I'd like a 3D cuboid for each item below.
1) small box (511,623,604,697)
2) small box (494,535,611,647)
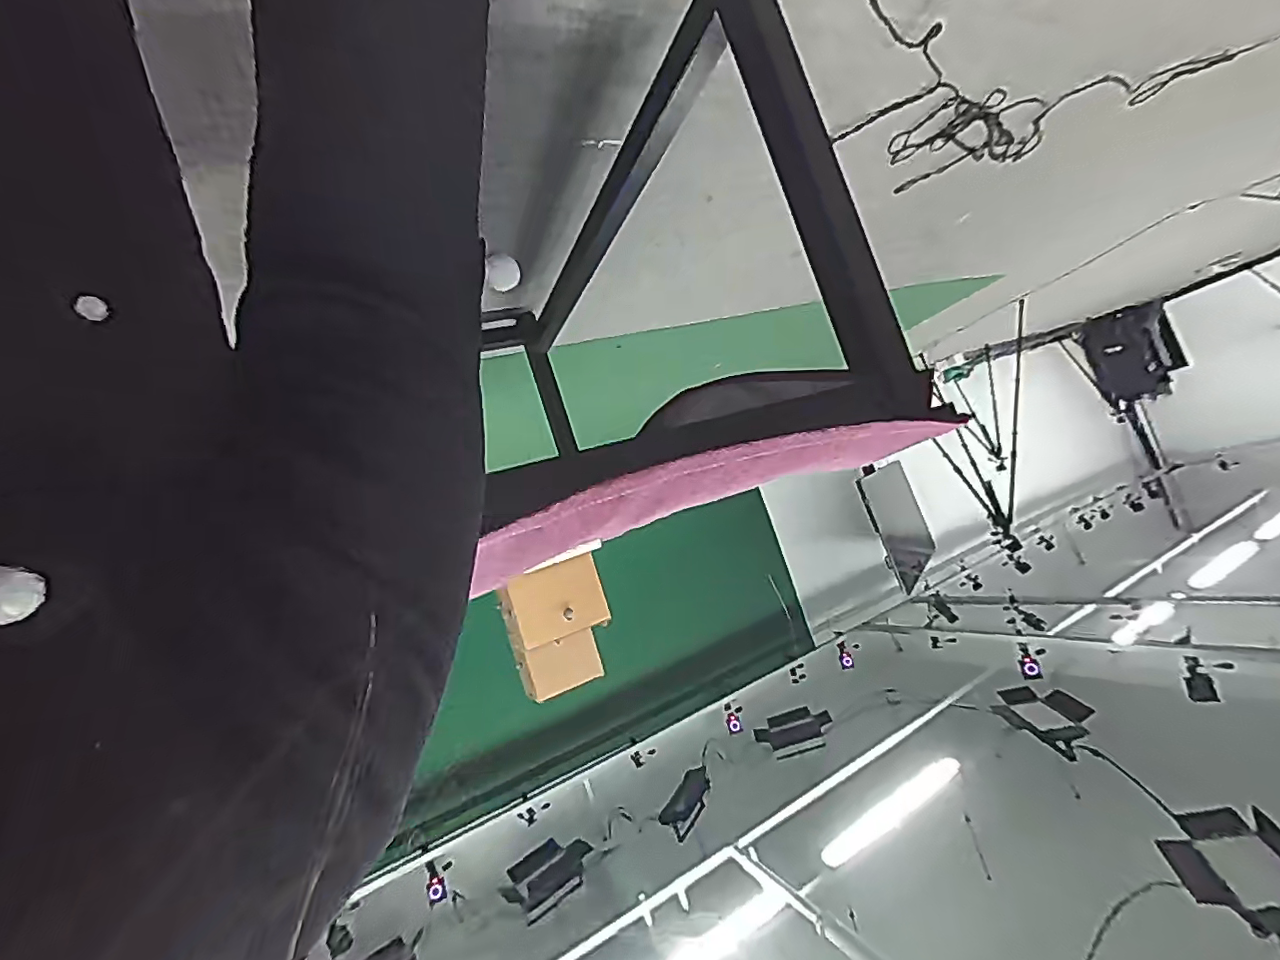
[{"bbox_3d":[-0.219,0.433,1.391,0.179,0.176,0.168,-15,175,-26],"label":"small box"},{"bbox_3d":[-0.186,0.223,1.106,0.179,0.176,0.168,-17,175,-23],"label":"small box"}]
